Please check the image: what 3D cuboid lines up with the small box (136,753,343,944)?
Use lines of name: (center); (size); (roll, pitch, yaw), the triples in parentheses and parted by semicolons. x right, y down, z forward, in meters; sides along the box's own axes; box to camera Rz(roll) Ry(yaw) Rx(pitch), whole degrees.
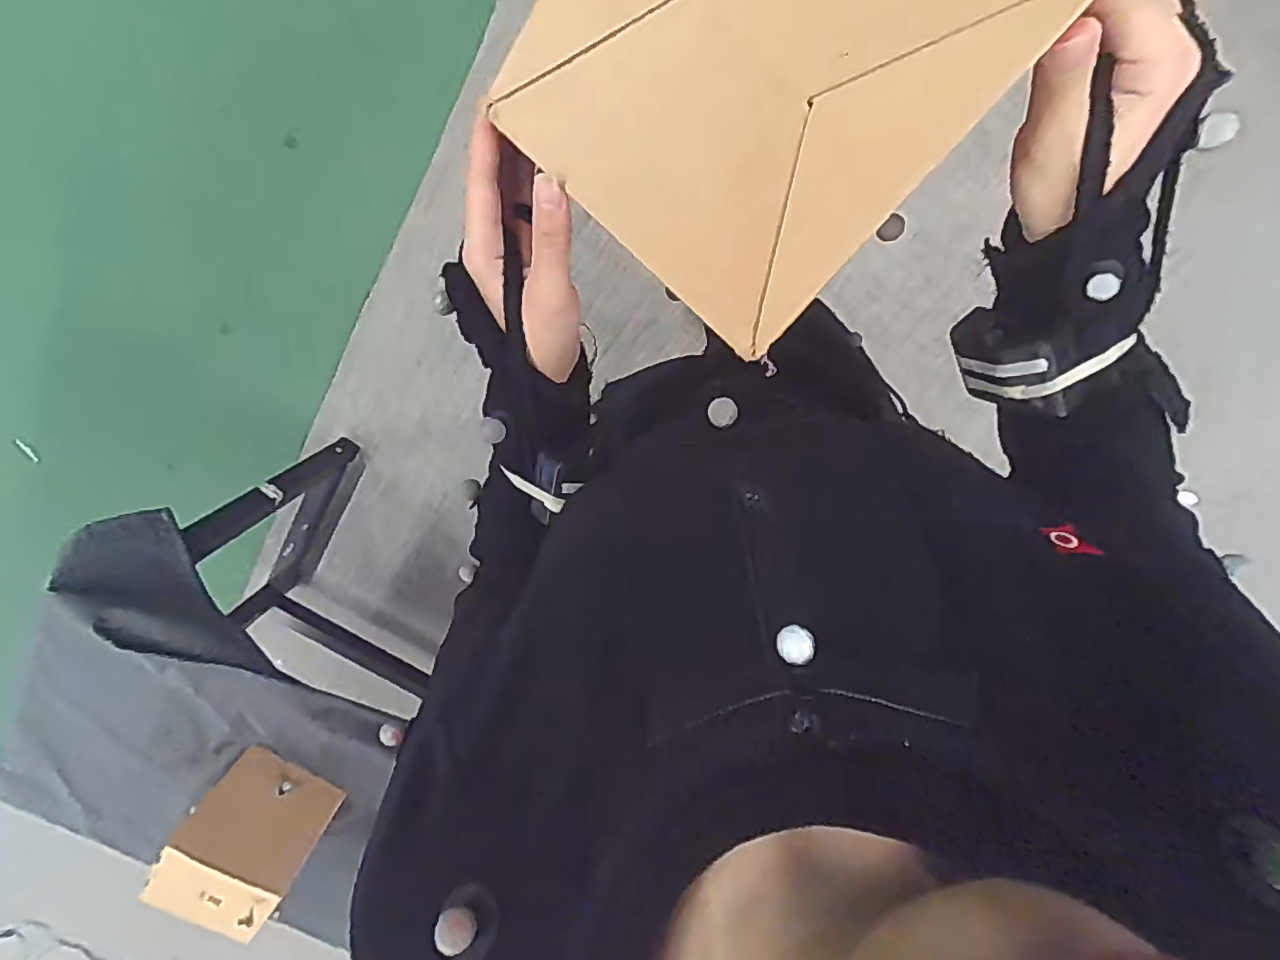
small box: (-0.620, 0.569, 0.855); (0.179, 0.176, 0.168); (34, 112, -9)
